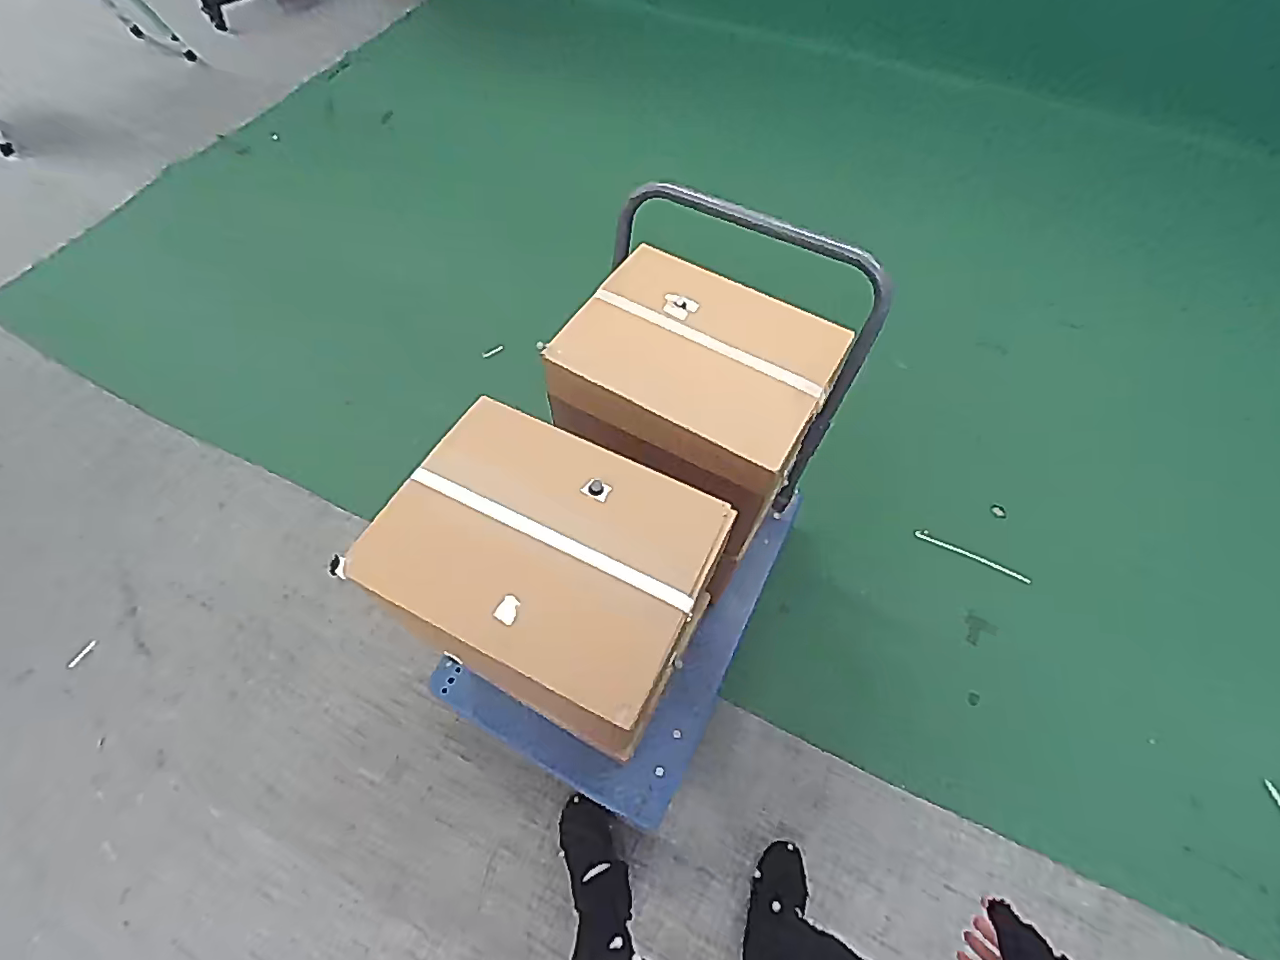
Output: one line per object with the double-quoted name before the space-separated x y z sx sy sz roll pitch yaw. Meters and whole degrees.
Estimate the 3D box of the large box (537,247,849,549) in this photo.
"large box" 0.089 -0.139 0.972 0.408 0.320 0.320 28 64 15
